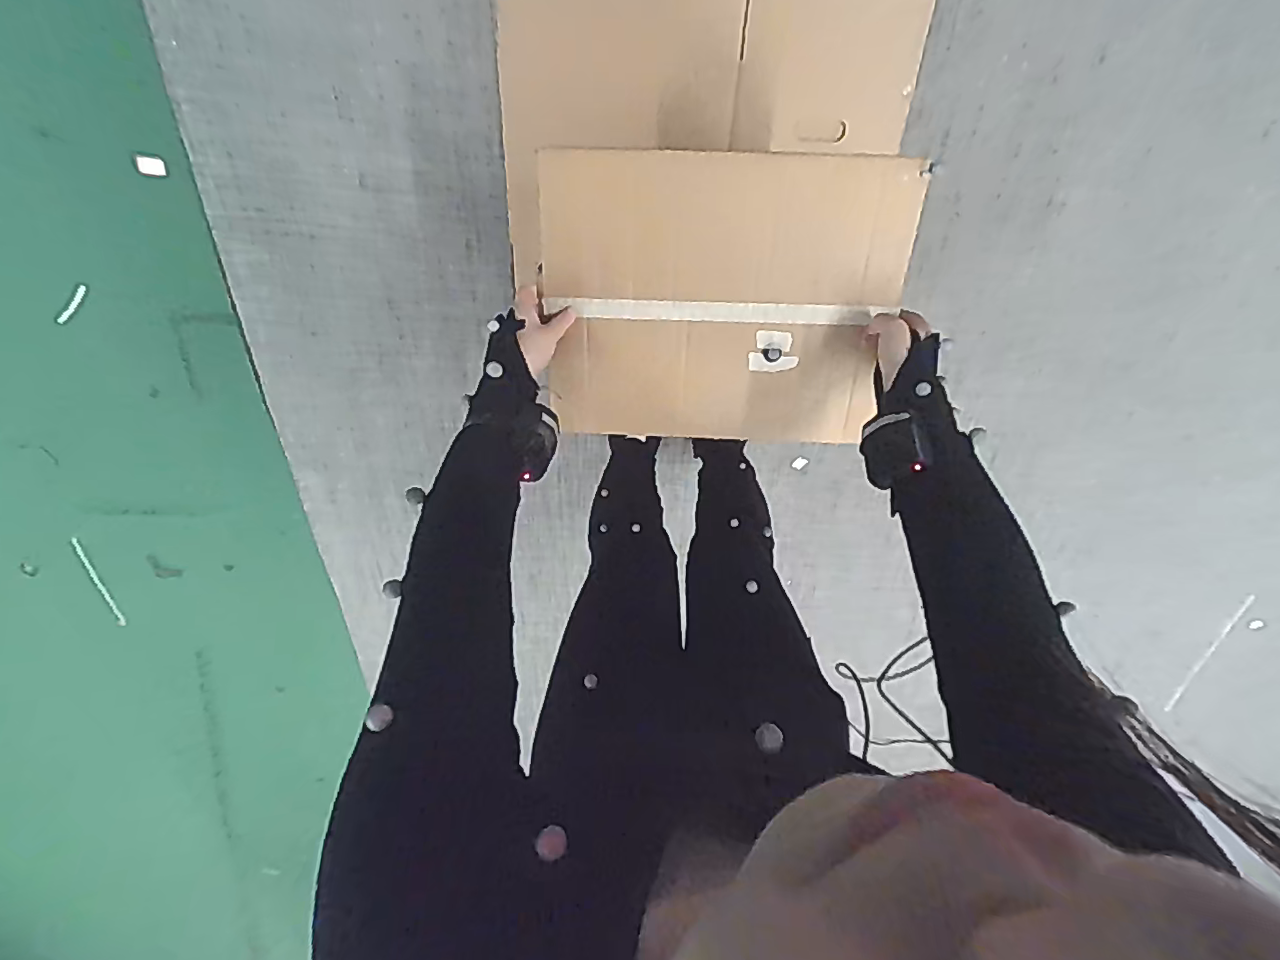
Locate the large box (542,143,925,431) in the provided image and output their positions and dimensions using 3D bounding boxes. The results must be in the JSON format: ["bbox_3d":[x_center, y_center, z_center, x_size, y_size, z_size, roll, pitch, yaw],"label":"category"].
[{"bbox_3d":[0.096,-0.265,0.754,0.408,0.320,0.320,2,116,1],"label":"large box"}]
